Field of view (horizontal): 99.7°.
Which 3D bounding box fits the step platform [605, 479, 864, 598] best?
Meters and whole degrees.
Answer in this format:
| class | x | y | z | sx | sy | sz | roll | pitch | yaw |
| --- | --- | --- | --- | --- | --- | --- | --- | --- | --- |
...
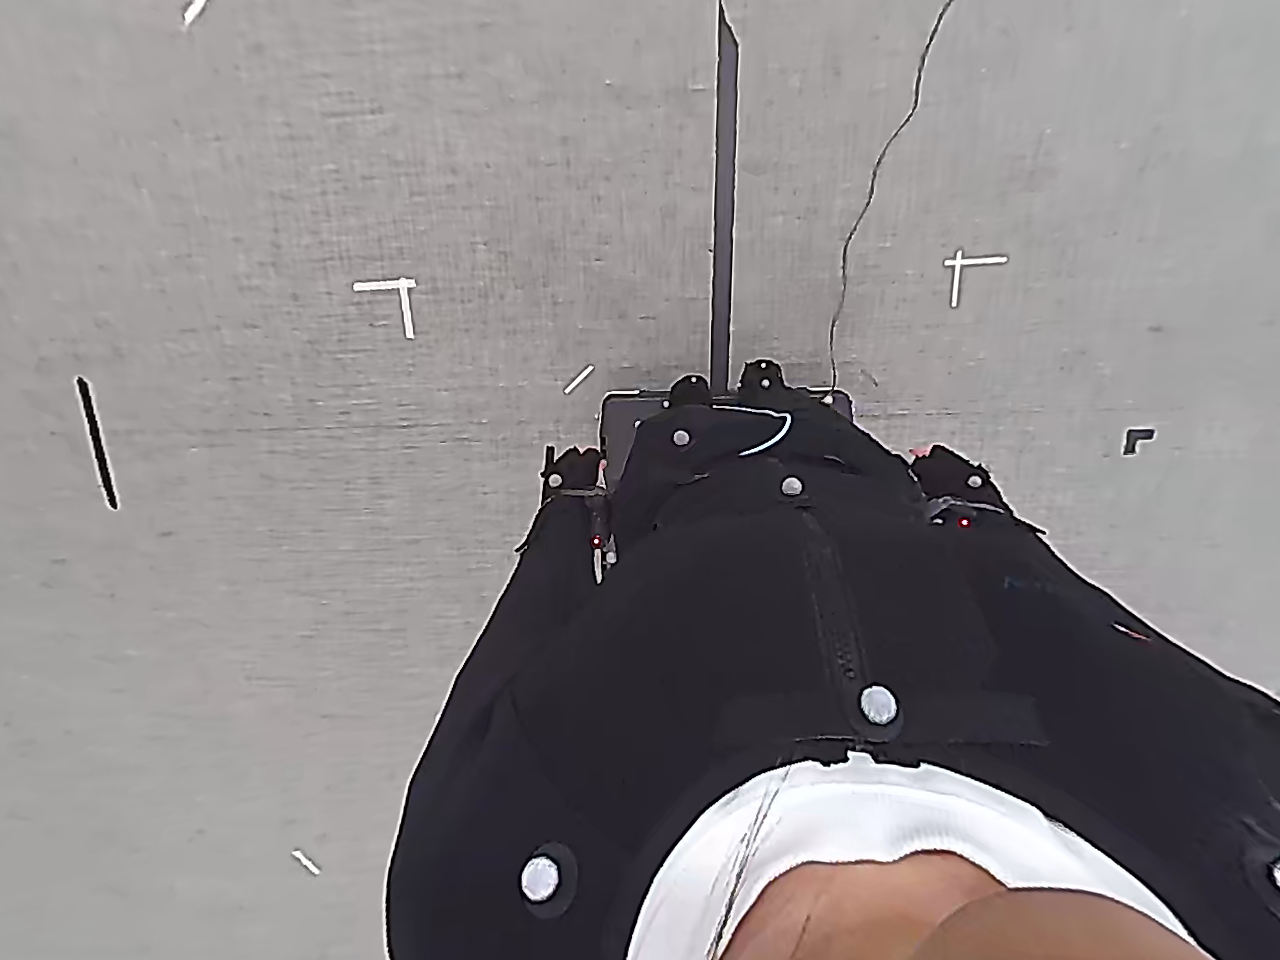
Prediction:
| class | x | y | z | sx | sy | sz | roll | pitch | yaw |
| --- | --- | --- | --- | --- | --- | --- | --- | --- | --- |
| step platform | 0.245 | 0.162 | 1.475 | 0.684 | 0.204 | 0.286 | -1 | 101 | 4 |
